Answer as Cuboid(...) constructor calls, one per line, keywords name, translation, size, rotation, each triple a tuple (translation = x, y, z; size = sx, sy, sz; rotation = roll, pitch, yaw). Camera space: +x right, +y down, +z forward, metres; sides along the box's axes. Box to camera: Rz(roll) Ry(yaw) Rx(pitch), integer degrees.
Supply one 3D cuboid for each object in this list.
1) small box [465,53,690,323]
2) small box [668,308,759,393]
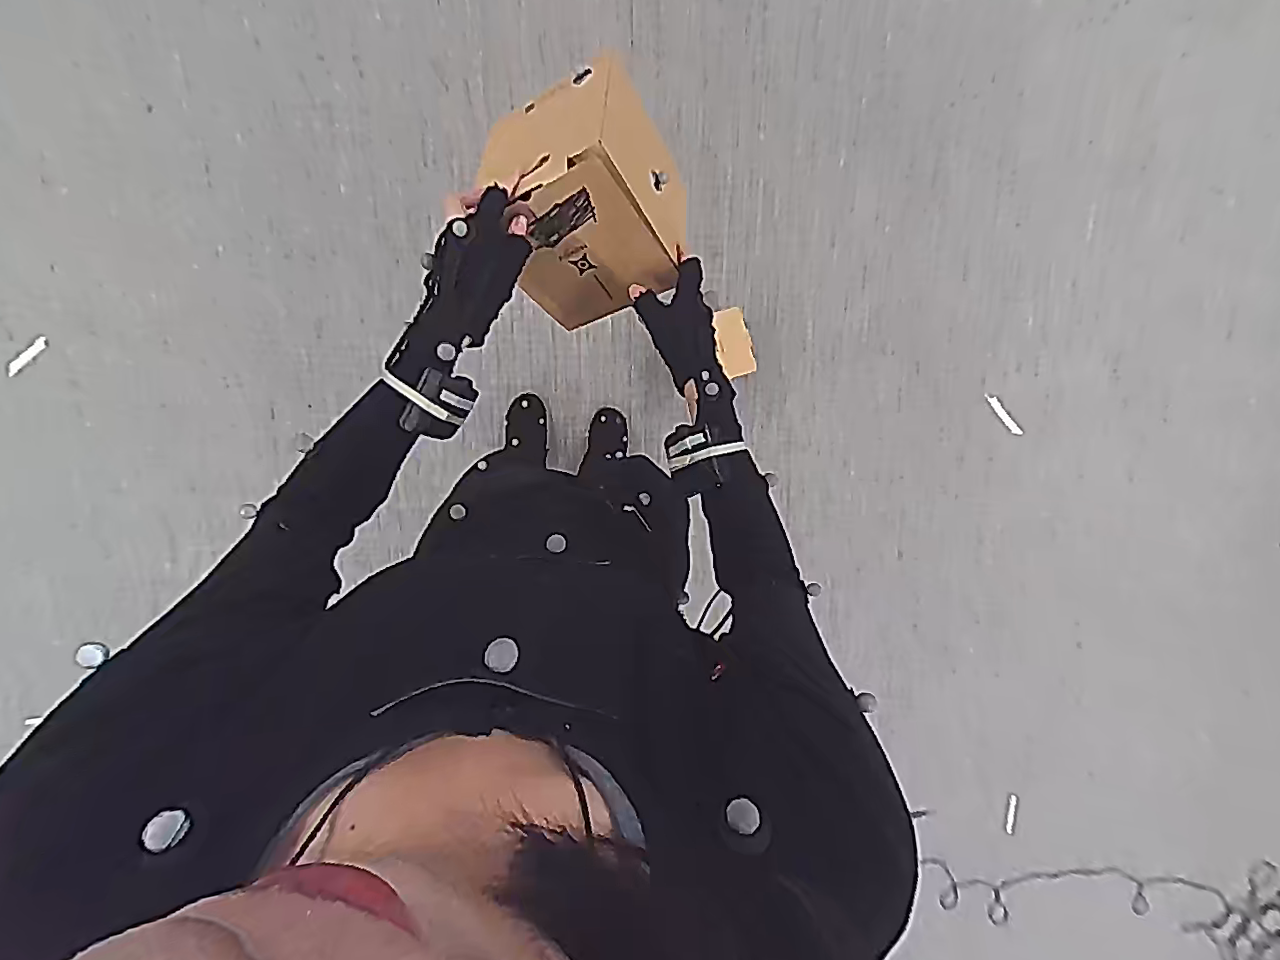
Cuboid(name="small box", translation=(-0.057, -0.312, 0.587), size=(0.168, 0.179, 0.176), rotation=(-14, 58, 28))
Cuboid(name="small box", translation=(0.181, -0.328, 1.388), size=(0.179, 0.176, 0.168), rotation=(-18, 99, 0))
